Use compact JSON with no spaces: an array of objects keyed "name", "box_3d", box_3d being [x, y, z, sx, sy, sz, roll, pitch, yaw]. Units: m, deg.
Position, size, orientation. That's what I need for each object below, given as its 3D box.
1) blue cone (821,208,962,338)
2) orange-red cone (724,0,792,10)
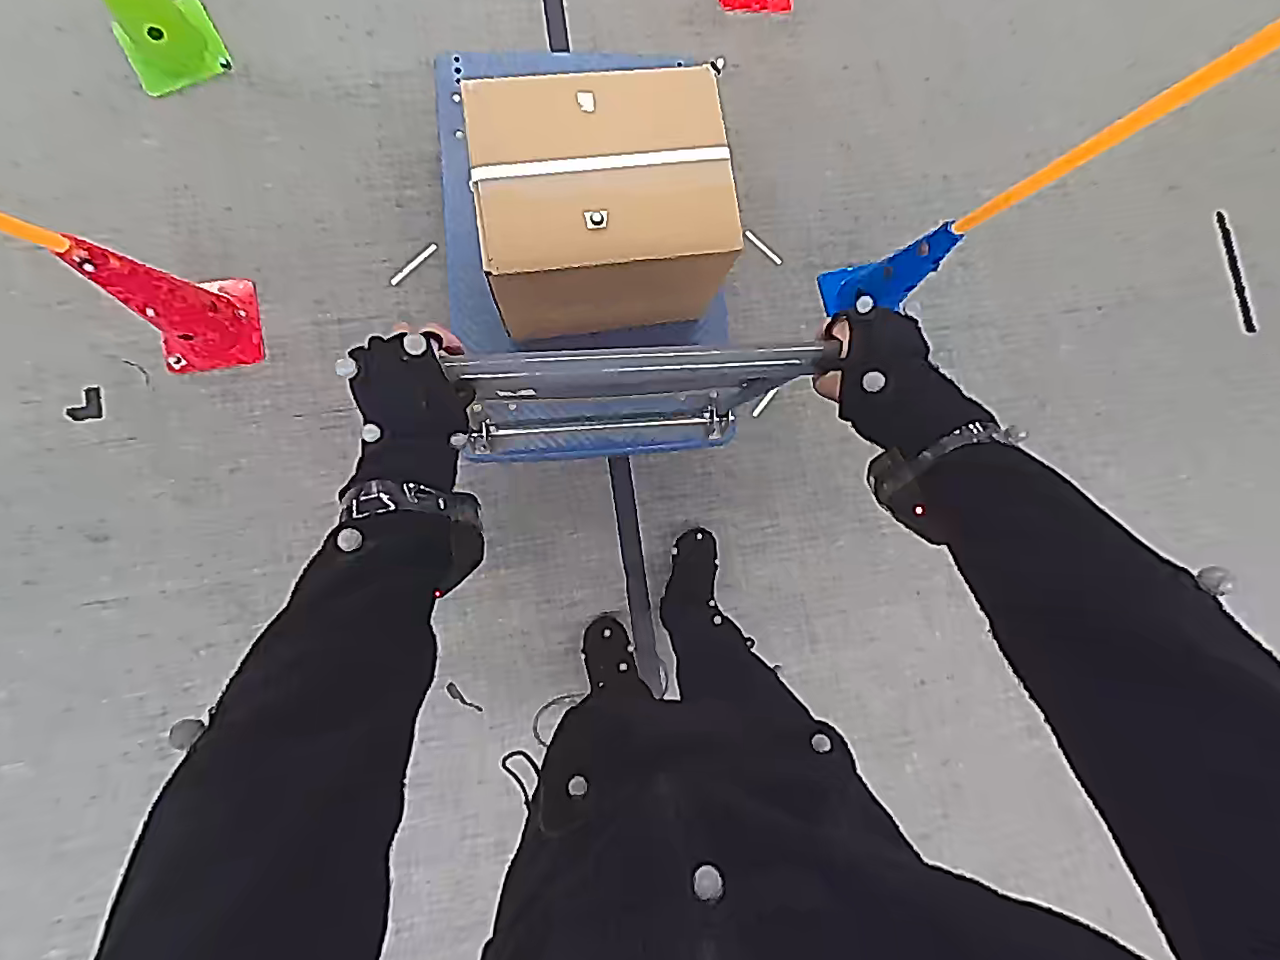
[{"name":"blue cone","box_3d":[0.592,-0.482,1.230,0.193,0.380,0.192,-13,86,-8]},{"name":"orange-red cone","box_3d":[0.328,-1.354,1.259,0.199,0.360,0.198,-2,86,-8]}]
